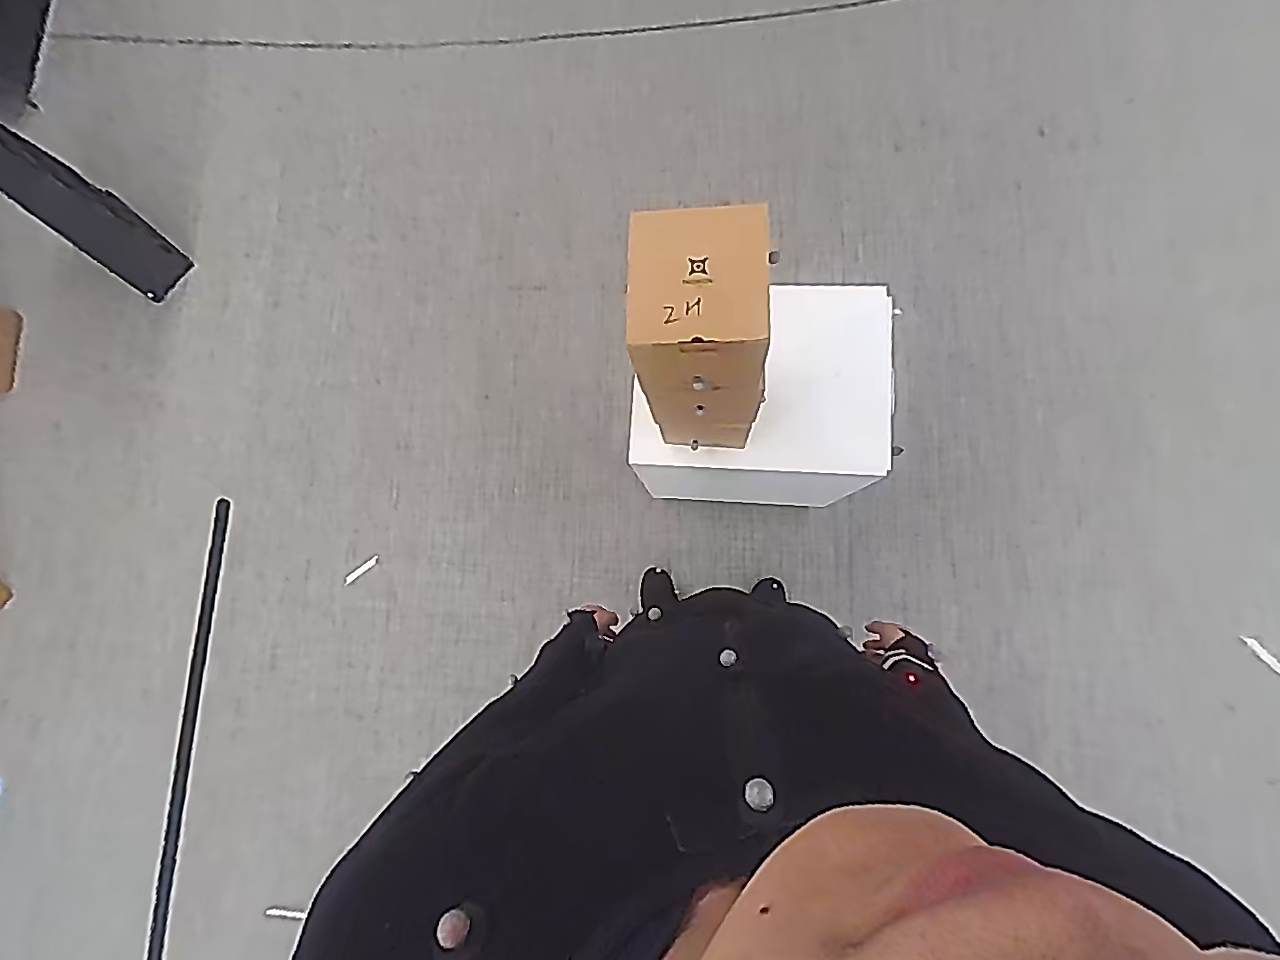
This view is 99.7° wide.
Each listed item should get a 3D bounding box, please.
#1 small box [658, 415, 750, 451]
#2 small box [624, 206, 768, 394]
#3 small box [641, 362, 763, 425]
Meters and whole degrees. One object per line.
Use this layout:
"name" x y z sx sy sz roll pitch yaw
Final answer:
"small box" 0.122 -0.163 1.024 0.168 0.176 0.179 4 81 7
"small box" 0.074 -0.223 0.705 0.168 0.176 0.179 0 80 8
"small box" 0.098 -0.190 0.864 0.179 0.176 0.168 -1 80 7
